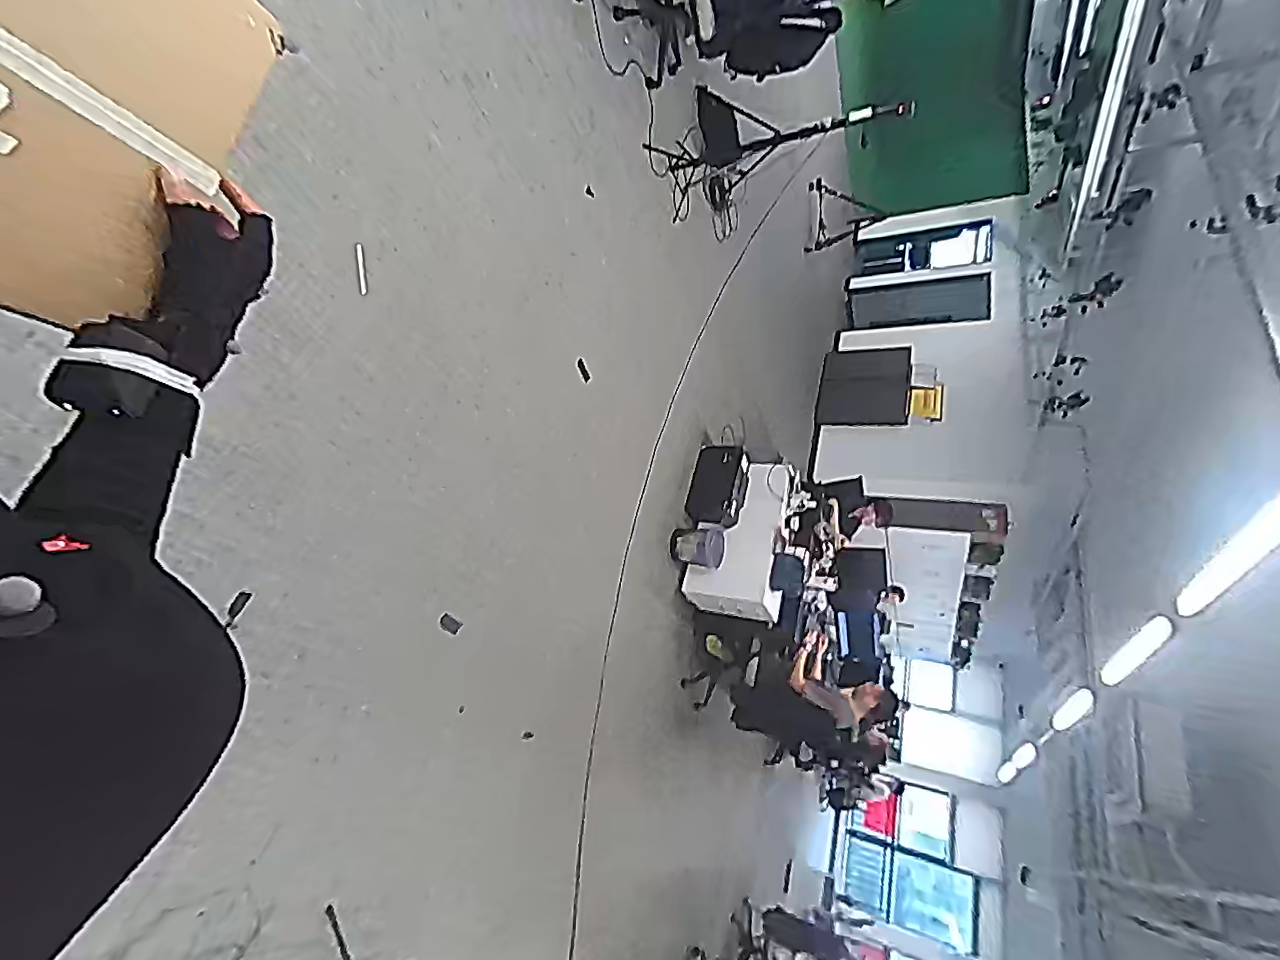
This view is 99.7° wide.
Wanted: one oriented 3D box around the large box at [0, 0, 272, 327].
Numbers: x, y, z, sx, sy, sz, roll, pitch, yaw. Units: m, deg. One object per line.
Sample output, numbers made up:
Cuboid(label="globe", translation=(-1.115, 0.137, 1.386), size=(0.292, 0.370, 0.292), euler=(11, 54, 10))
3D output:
Cuboid(label="large box", translation=(-0.581, -0.349, 0.356), size=(0.408, 0.320, 0.320), euler=(30, 79, -64))
